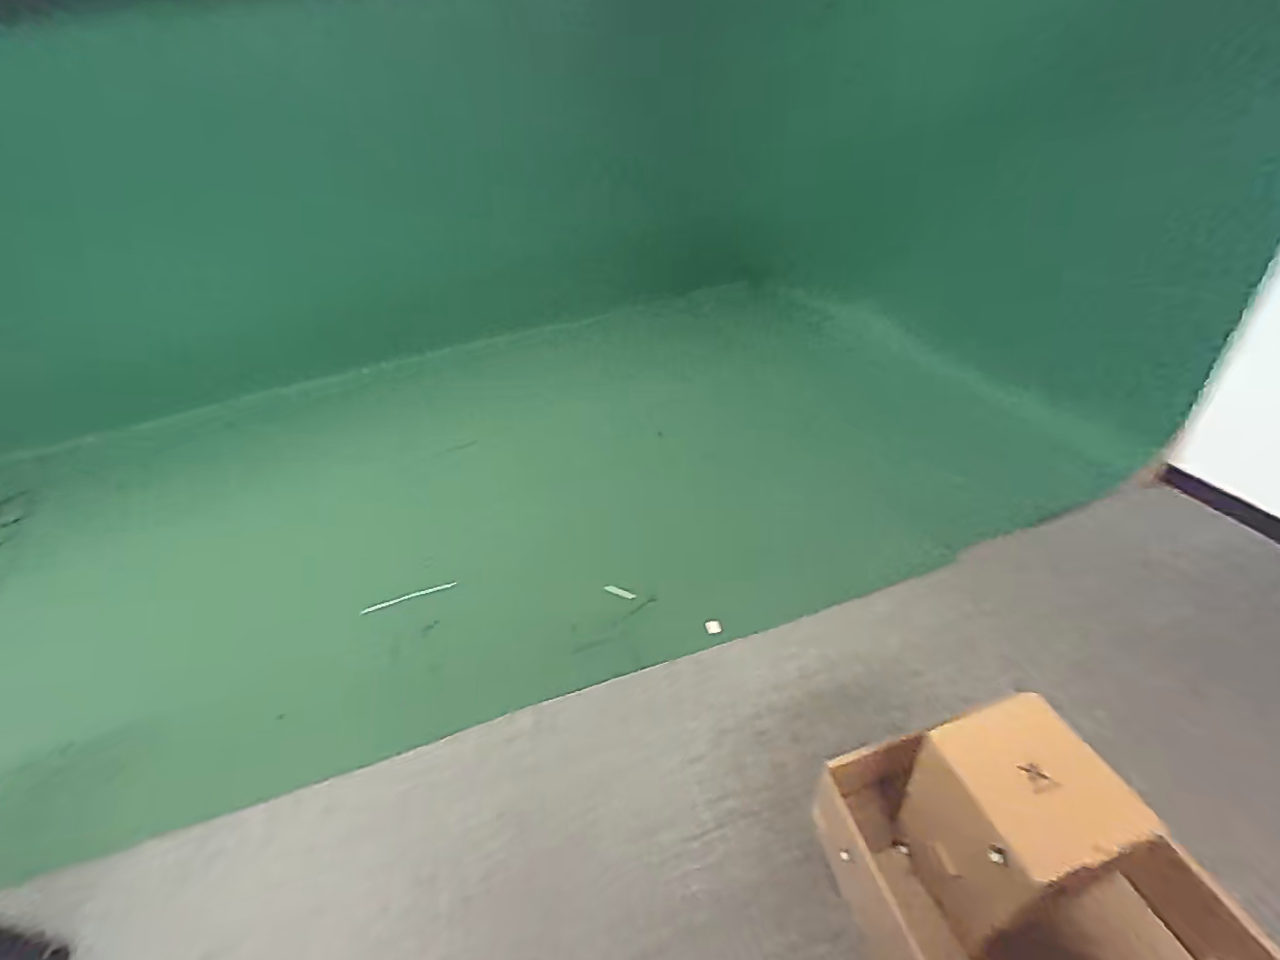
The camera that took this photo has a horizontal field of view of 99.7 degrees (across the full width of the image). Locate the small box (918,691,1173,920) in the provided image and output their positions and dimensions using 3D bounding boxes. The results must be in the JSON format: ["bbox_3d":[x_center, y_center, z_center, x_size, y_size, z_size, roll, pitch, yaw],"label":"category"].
[{"bbox_3d":[0.487,0.410,0.688,0.168,0.176,0.179,-17,39,-7],"label":"small box"}]
